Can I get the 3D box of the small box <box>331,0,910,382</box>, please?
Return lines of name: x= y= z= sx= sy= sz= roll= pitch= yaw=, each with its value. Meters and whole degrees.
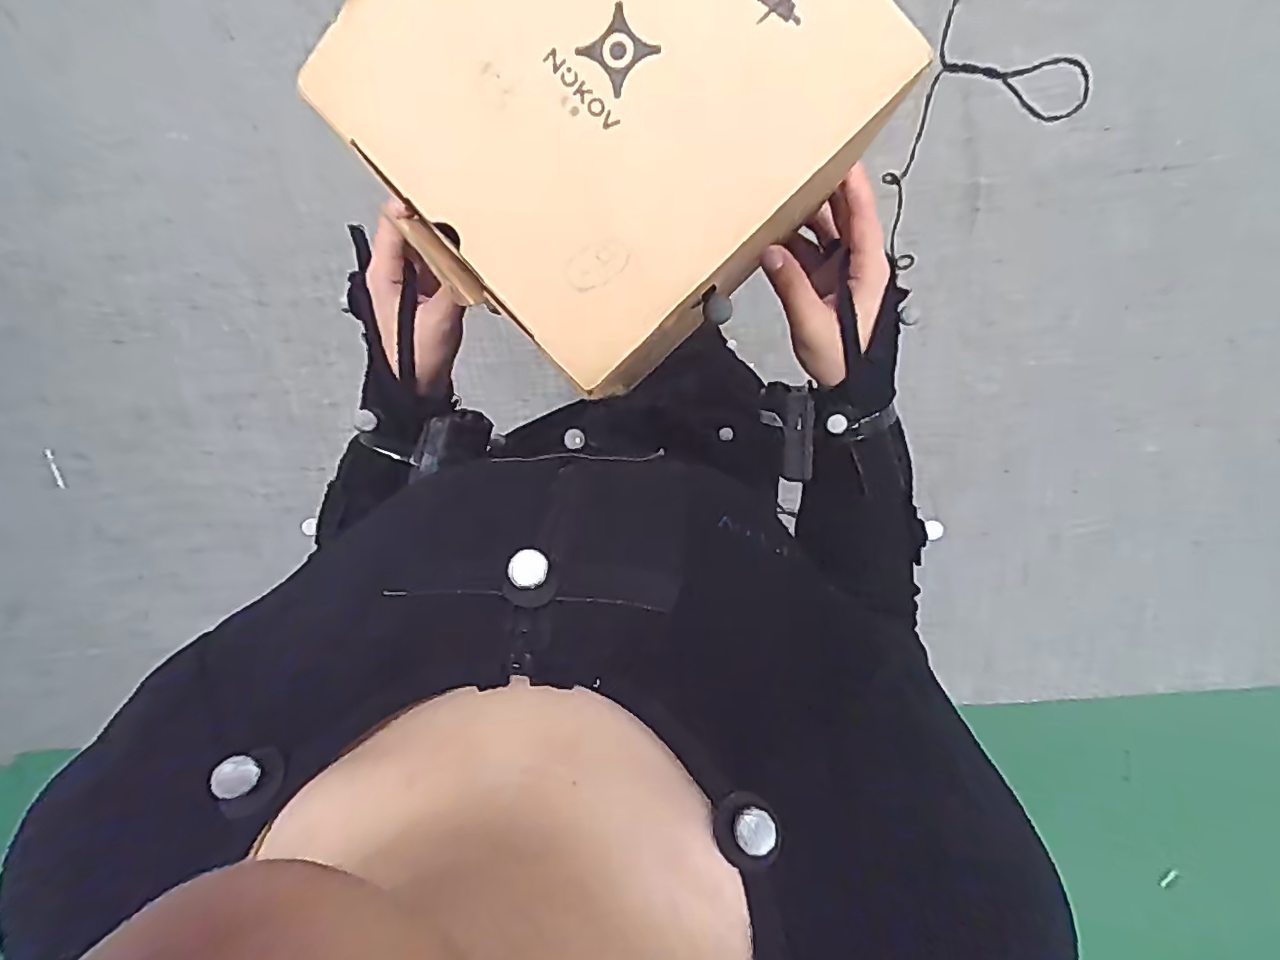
small box: x=-0.006 y=-0.168 z=0.291 sx=0.179 sy=0.176 sz=0.168 roll=-43 pitch=94 yaw=10
